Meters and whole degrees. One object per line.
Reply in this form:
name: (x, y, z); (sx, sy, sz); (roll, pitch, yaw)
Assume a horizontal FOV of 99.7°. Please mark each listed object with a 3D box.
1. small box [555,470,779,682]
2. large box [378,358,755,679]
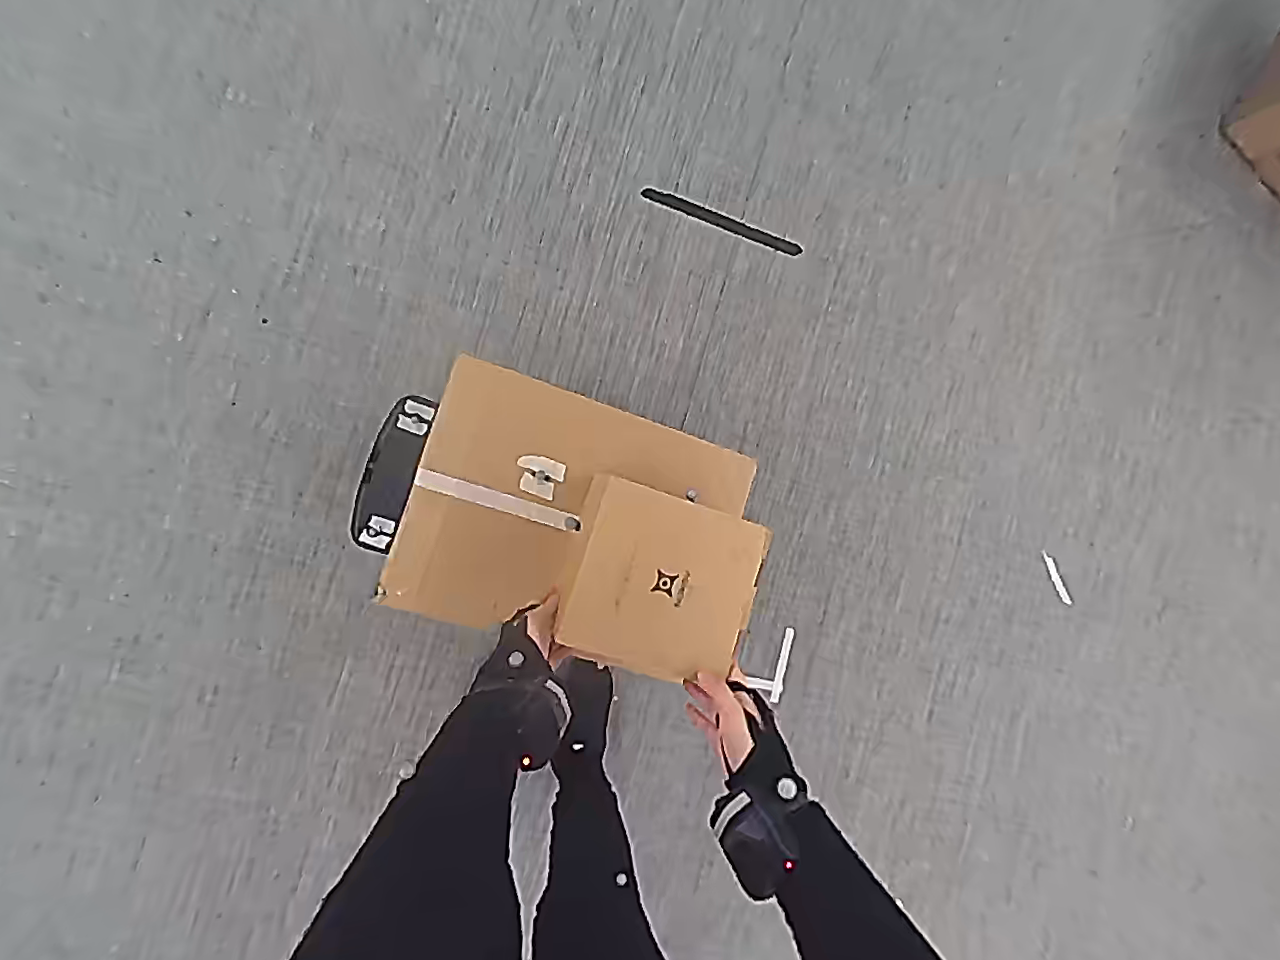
small box: (0.017, 0.091, 0.588); (0.179, 0.176, 0.168); (19, 87, -10)
large box: (-0.101, 0.056, 0.816); (0.408, 0.320, 0.320); (18, 85, -10)
